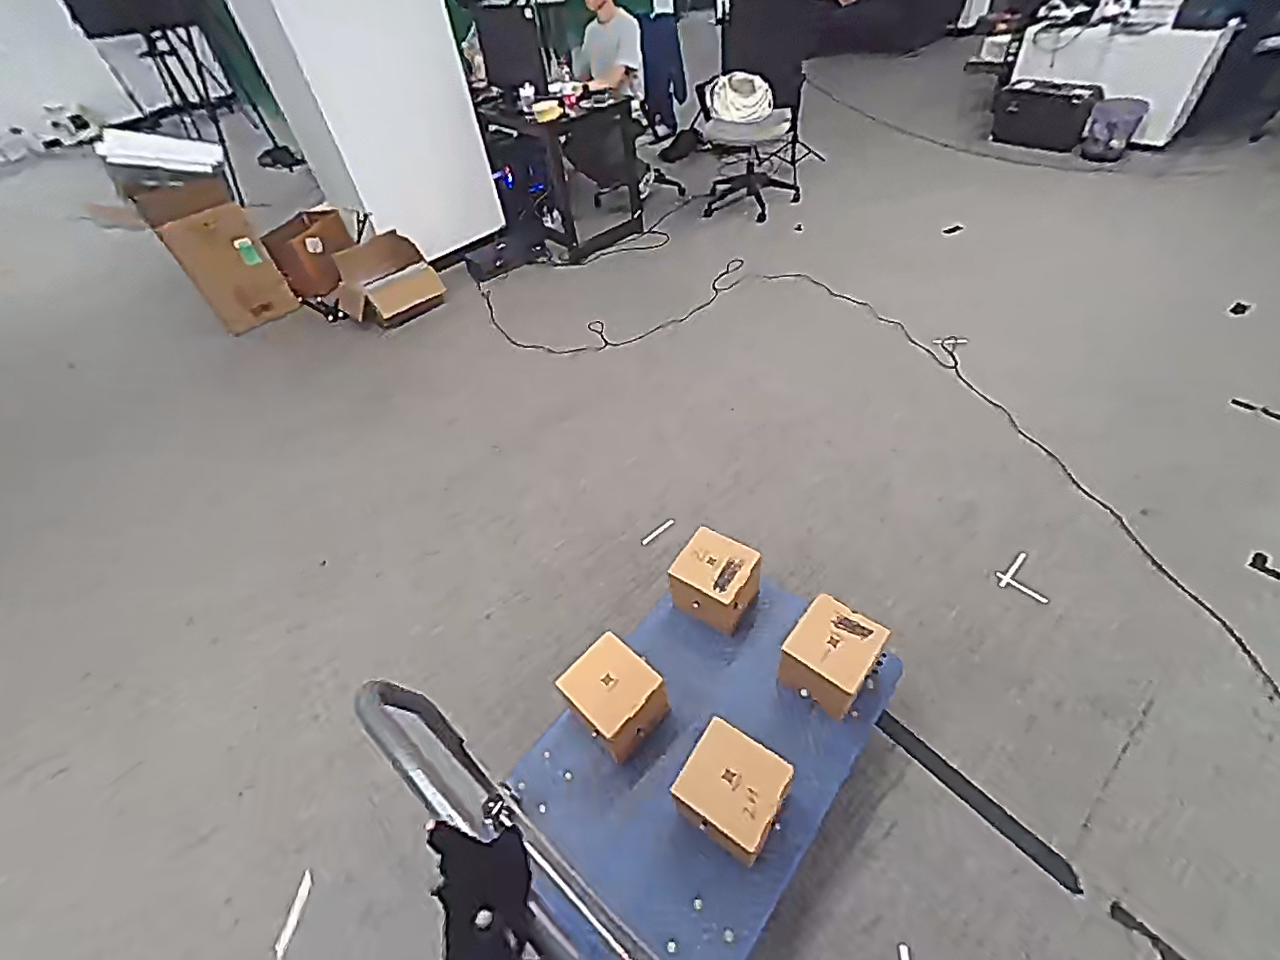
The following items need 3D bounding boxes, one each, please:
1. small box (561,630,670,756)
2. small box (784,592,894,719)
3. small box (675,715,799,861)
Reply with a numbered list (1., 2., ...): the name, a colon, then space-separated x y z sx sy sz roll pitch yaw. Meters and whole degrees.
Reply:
1. small box: -0.049 0.482 1.215 0.179 0.176 0.168 33 60 31
2. small box: 0.437 0.394 1.214 0.168 0.176 0.179 30 60 31
3. small box: 0.188 0.607 1.060 0.179 0.176 0.168 25 56 28
